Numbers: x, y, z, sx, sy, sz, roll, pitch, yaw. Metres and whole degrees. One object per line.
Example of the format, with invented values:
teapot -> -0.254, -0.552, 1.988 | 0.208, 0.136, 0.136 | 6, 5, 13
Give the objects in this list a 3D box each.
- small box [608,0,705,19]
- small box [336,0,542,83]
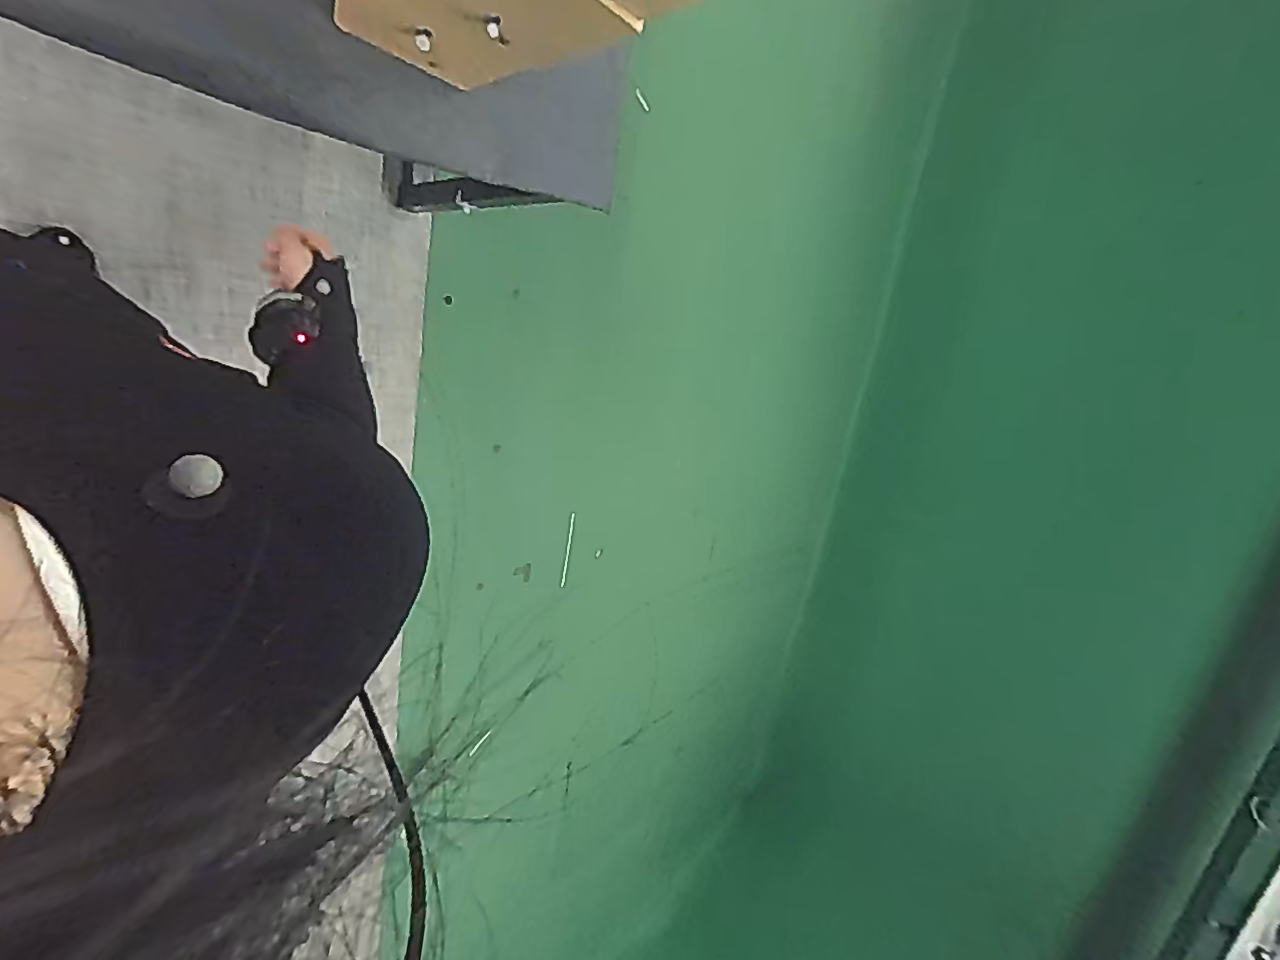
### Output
small box -> 0.017, -0.478, 0.374 | 0.168, 0.176, 0.179 | -10, 113, -45
small box -> -0.218, -0.570, 0.585 | 0.168, 0.176, 0.179 | -6, 110, -47
